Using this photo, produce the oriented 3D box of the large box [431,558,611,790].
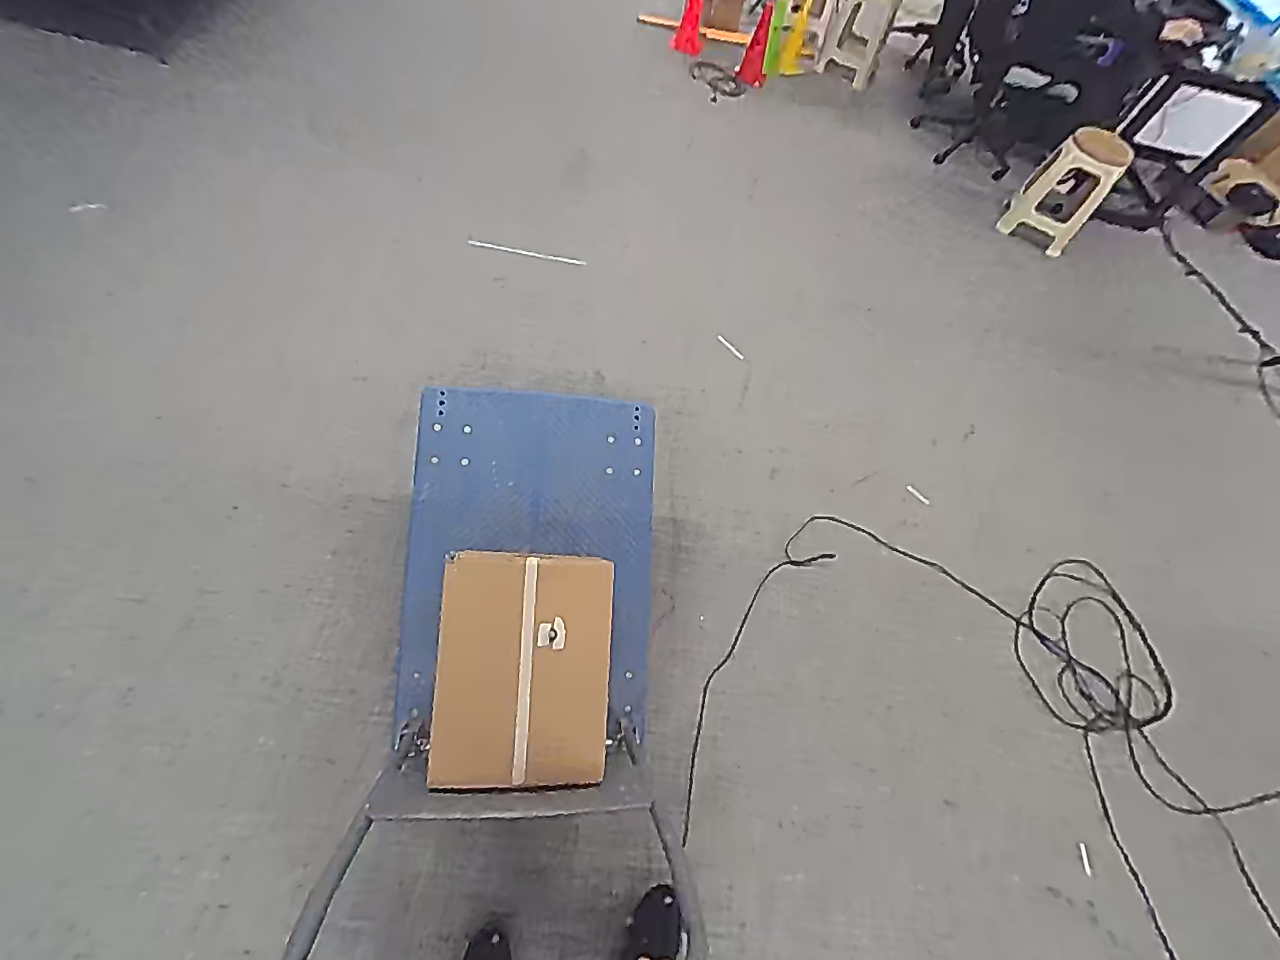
[{"bbox_3d":[-0.233,0.373,1.136,0.320,0.320,0.408,3,82,-10],"label":"large box"}]
